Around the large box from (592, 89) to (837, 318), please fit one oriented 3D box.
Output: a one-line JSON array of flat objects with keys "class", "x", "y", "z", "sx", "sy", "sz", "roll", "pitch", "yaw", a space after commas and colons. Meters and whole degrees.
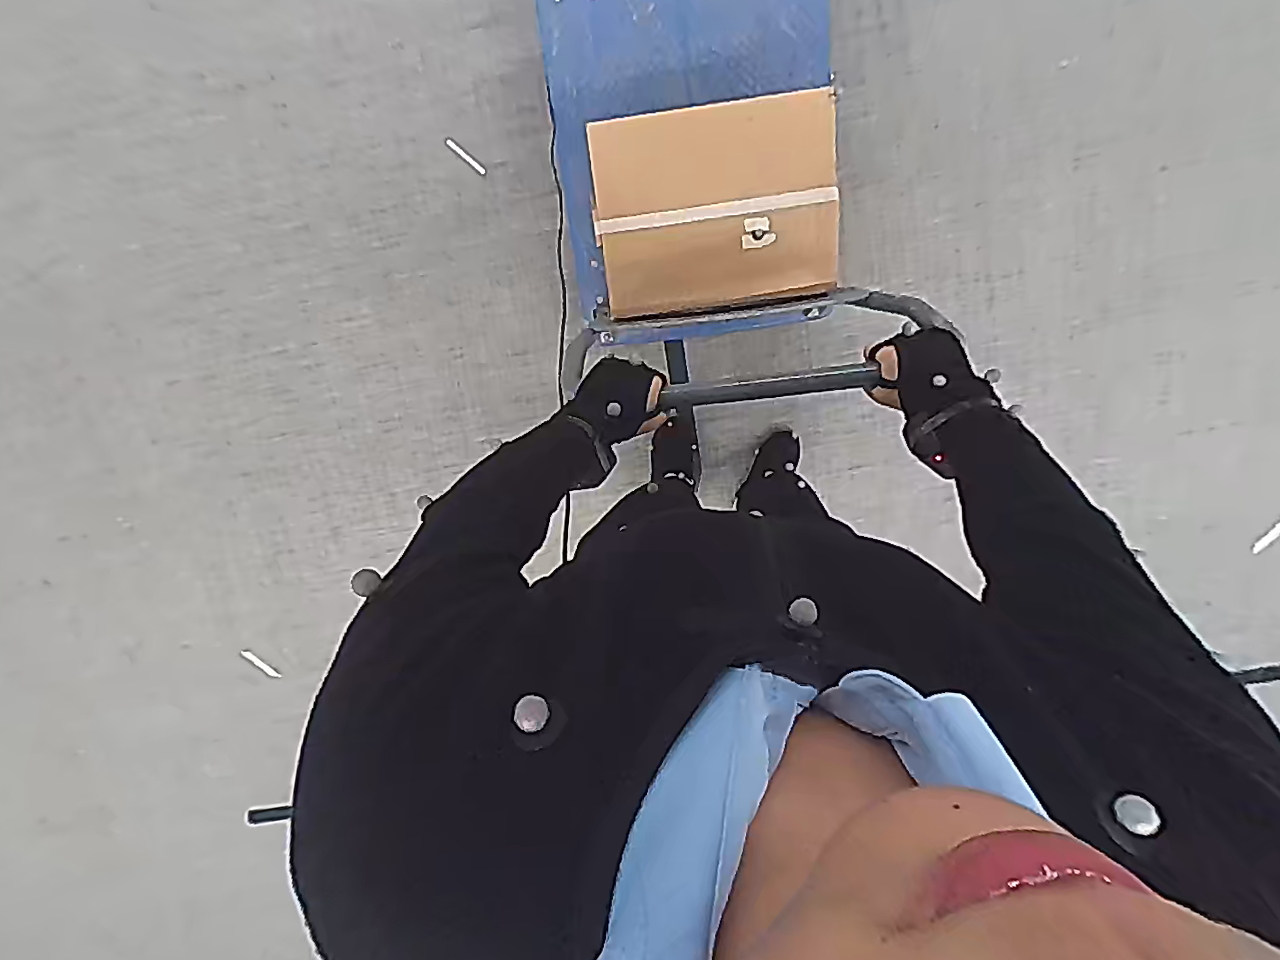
[{"class": "large box", "x": 0.137, "y": -0.512, "z": 1.076, "sx": 0.408, "sy": 0.320, "sz": 0.320, "roll": -7, "pitch": 108, "yaw": 3}]
